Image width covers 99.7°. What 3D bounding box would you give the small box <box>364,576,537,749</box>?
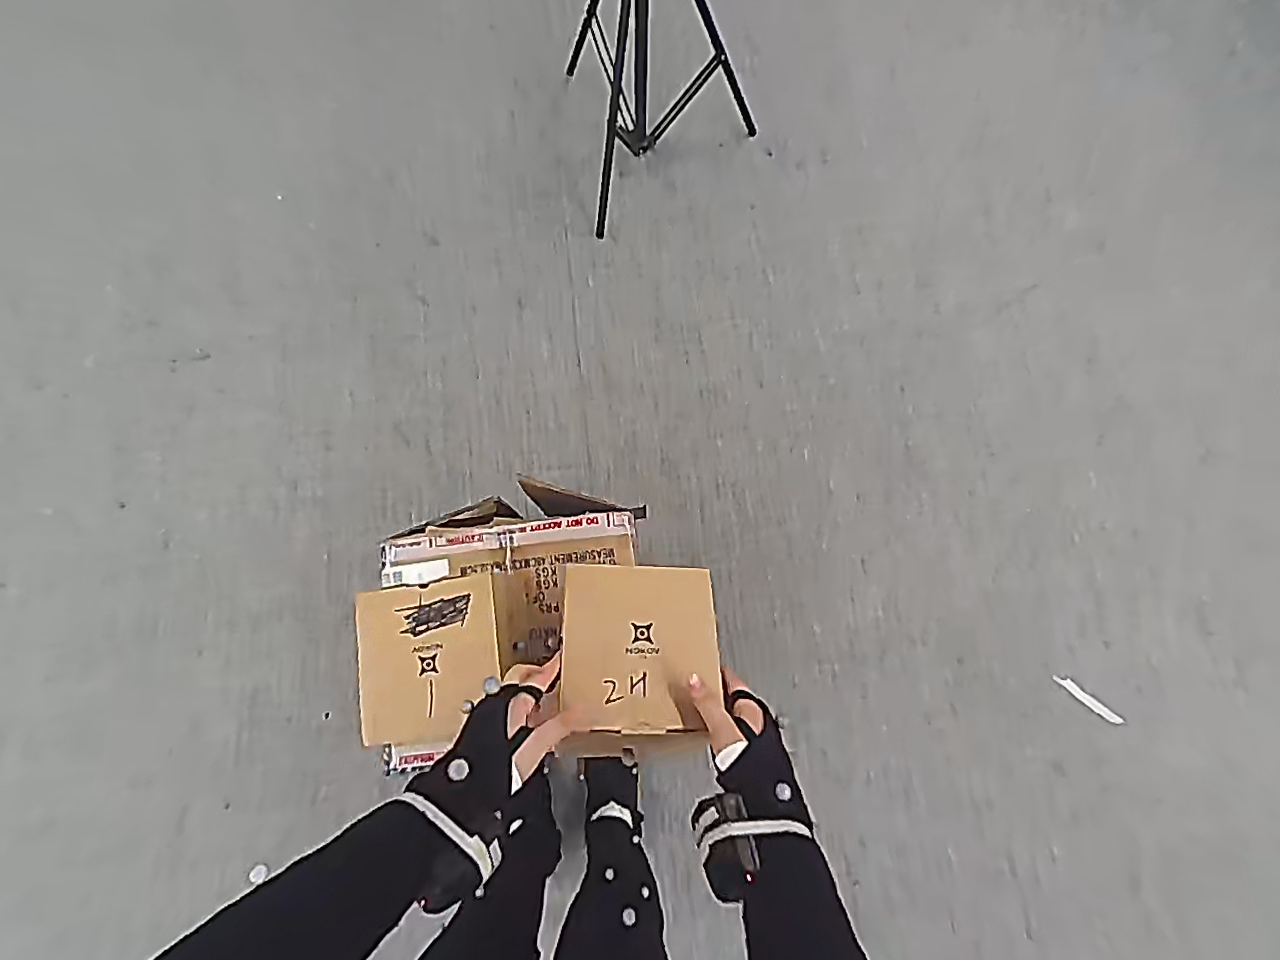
[{"bbox_3d":[-0.238,0.228,0.709,0.168,0.176,0.179,-9,78,-1],"label":"small box"}]

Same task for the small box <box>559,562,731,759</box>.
[{"bbox_3d":[-0.005,0.212,0.625,0.168,0.176,0.179,3,55,-8],"label":"small box"}]
